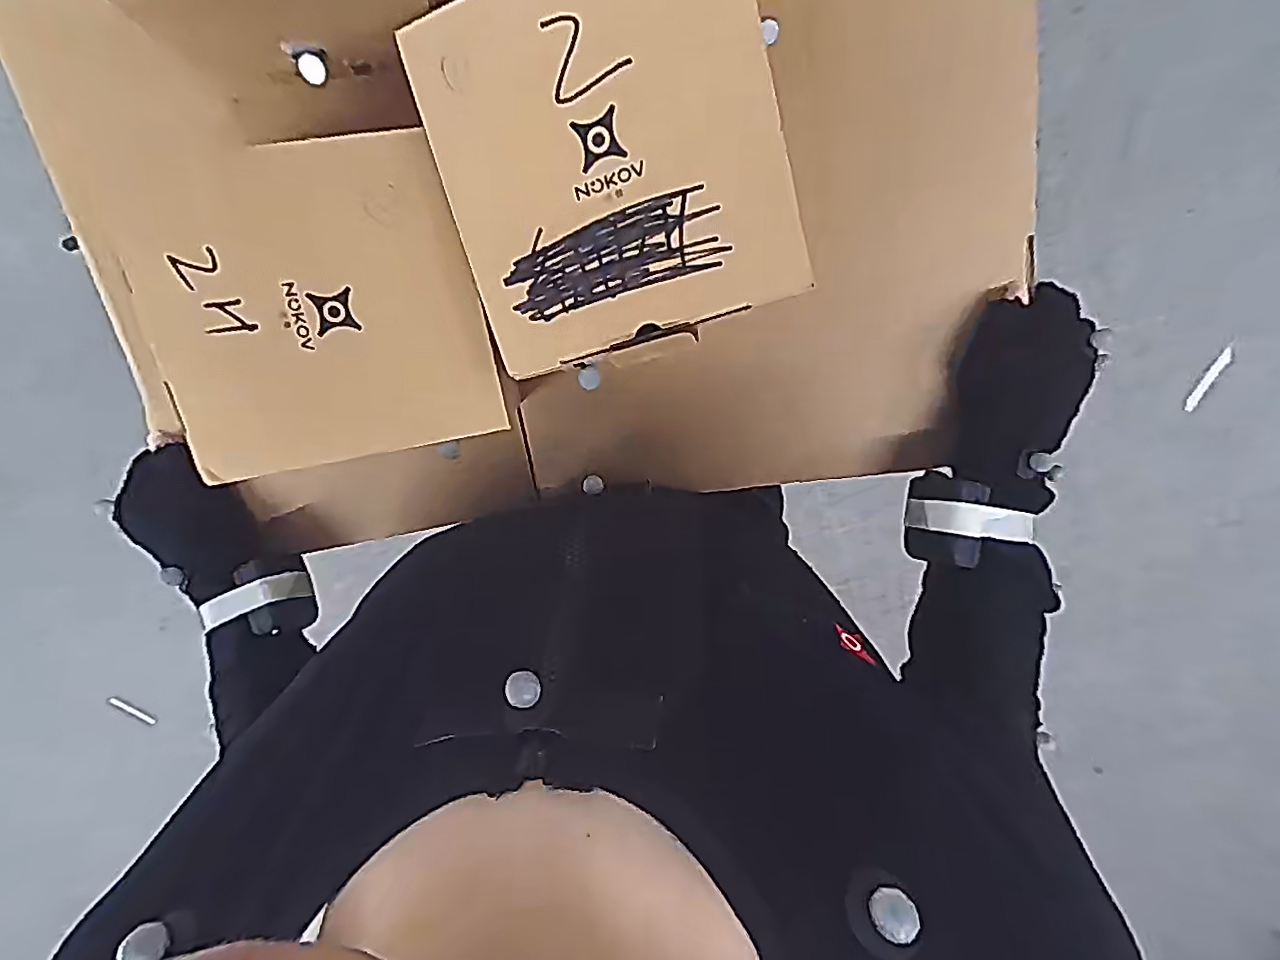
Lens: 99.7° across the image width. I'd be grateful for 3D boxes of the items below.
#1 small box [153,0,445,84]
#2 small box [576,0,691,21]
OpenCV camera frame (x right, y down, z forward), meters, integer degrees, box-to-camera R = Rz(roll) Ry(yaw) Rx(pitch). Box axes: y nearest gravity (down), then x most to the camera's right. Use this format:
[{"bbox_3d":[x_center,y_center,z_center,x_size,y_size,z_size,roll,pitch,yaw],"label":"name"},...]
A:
[{"bbox_3d":[-0.226,-0.370,0.309,0.168,0.176,0.179,-12,106,-7],"label":"small box"},{"bbox_3d":[0.015,-0.383,0.275,0.168,0.176,0.179,-5,104,13],"label":"small box"}]
